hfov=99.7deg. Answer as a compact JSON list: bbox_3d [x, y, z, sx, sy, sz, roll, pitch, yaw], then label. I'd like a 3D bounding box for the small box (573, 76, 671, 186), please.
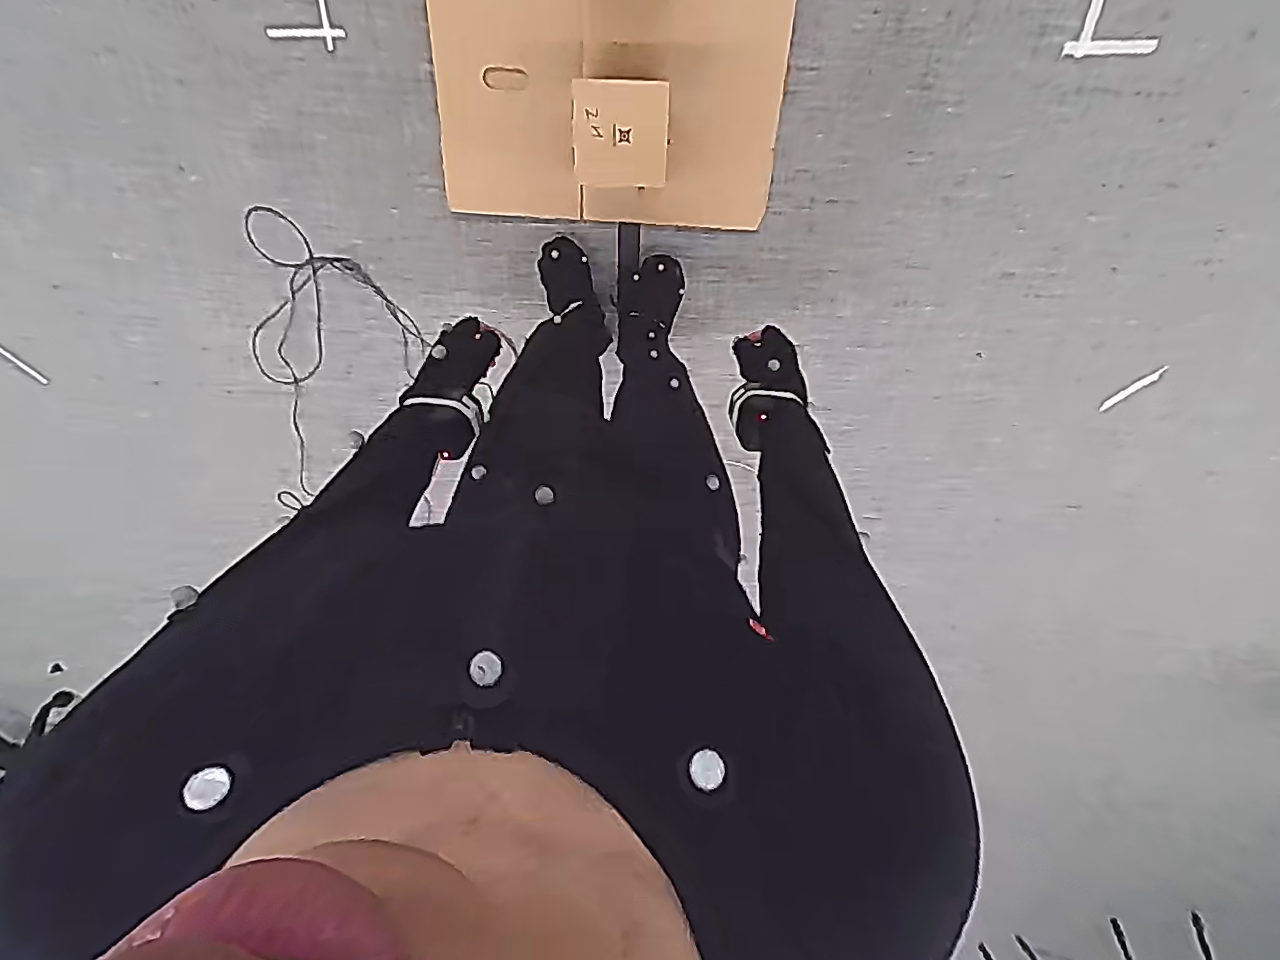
[{"bbox_3d":[-0.032,-0.677,1.057,0.179,0.176,0.168,3,121,1],"label":"small box"}]
